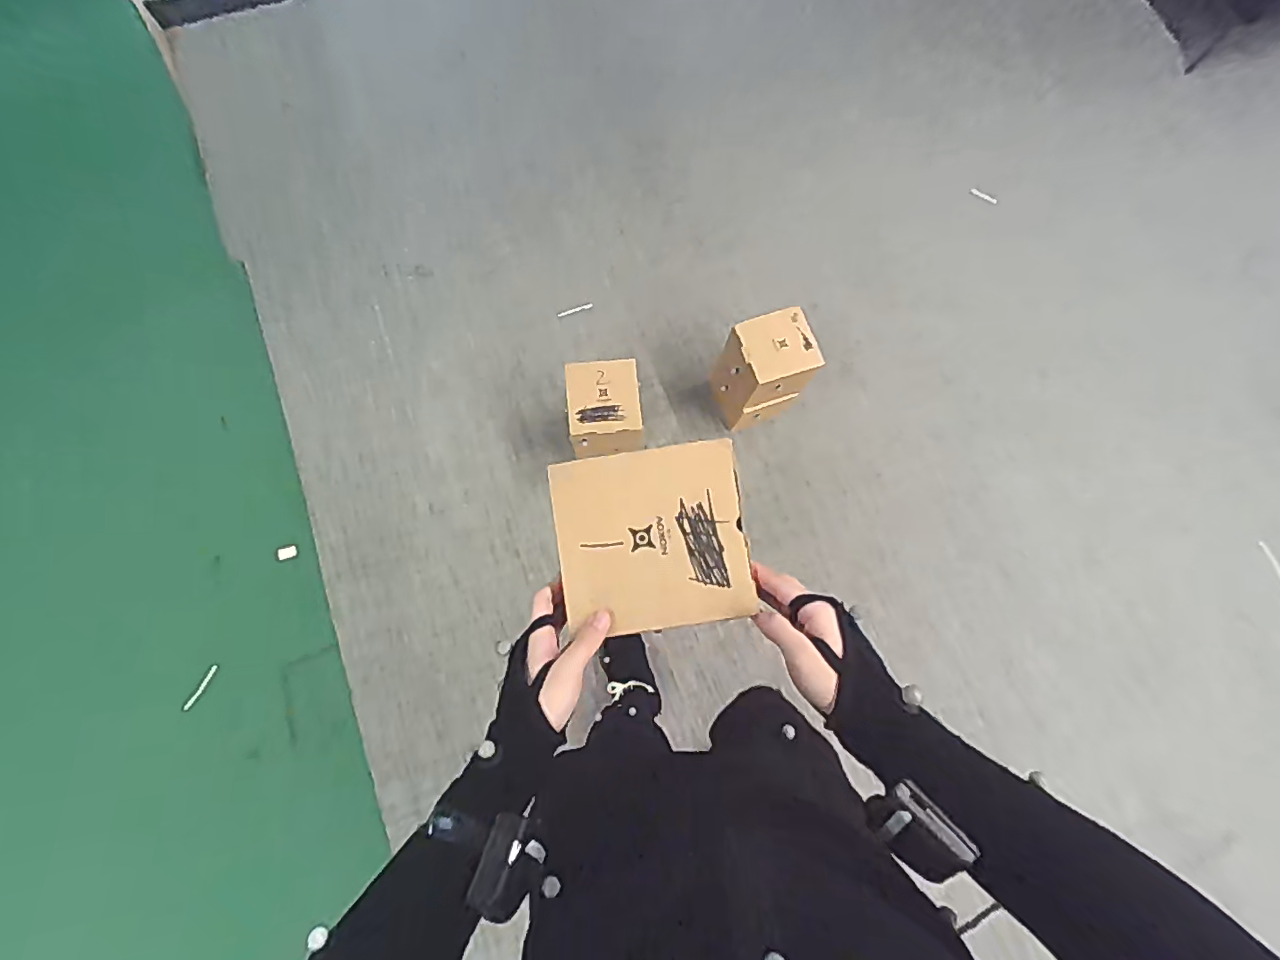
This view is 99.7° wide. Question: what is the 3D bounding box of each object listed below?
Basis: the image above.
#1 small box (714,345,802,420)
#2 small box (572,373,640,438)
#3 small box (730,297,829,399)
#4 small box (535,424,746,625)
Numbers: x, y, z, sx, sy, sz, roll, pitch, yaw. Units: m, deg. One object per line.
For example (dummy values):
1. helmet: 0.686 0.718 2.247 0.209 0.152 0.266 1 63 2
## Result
1. small box: 0.318 -0.278 1.492 0.168 0.176 0.179 -18 79 -6
2. small box: -0.088 -0.171 1.446 0.168 0.176 0.179 2 78 -3
3. small box: 0.330 -0.317 1.333 0.179 0.176 0.168 -16 80 -5
4. small box: 0.000 0.044 0.556 0.179 0.176 0.168 -6 85 1
